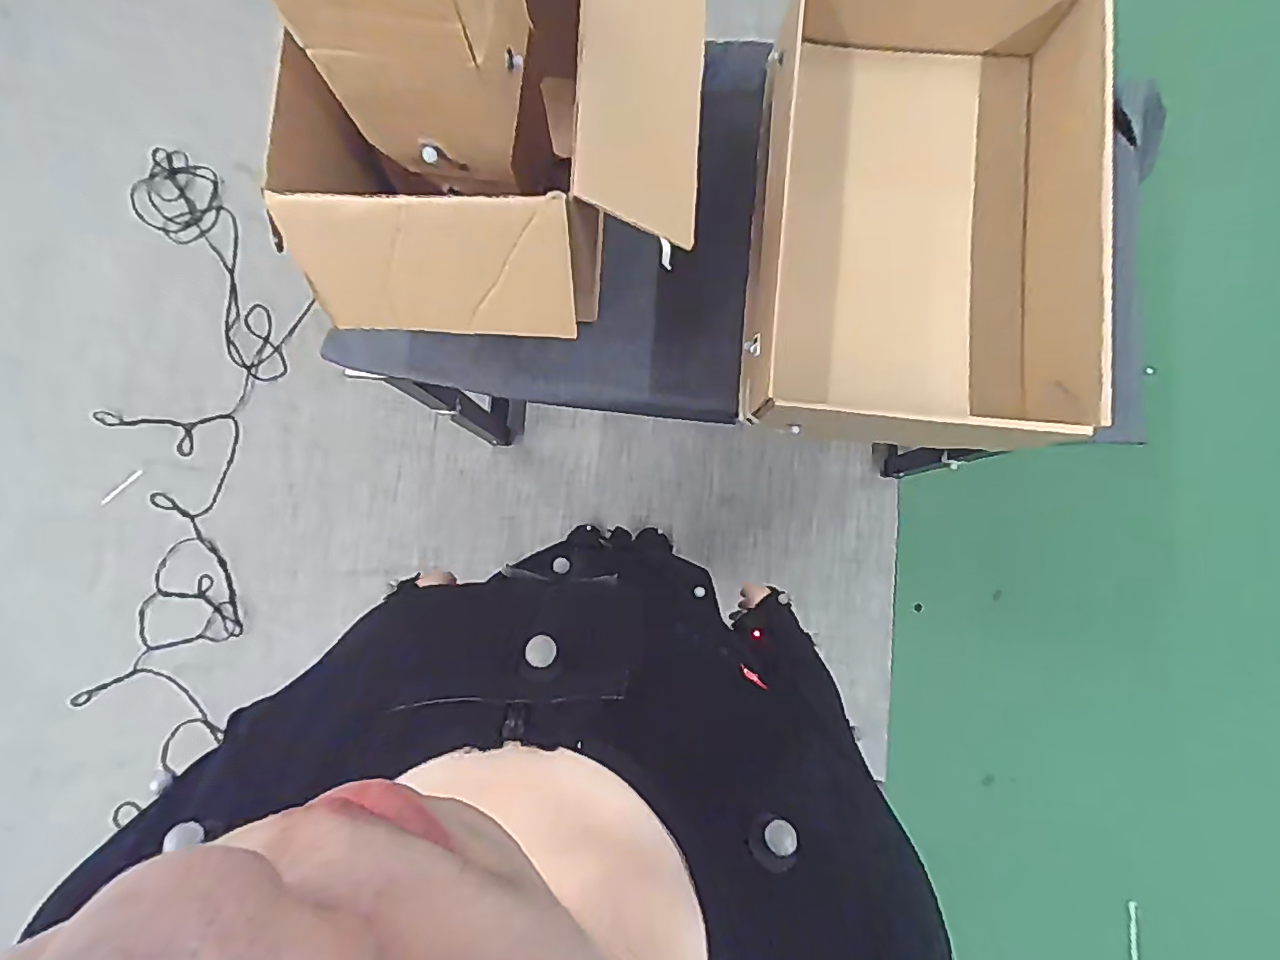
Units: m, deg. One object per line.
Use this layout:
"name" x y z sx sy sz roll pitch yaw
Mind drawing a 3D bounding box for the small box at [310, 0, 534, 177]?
"small box" -0.218 -0.474 0.591 0.168 0.176 0.179 7 87 0

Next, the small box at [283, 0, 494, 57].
"small box" -0.220 -0.485 0.429 0.179 0.176 0.168 8 85 0
